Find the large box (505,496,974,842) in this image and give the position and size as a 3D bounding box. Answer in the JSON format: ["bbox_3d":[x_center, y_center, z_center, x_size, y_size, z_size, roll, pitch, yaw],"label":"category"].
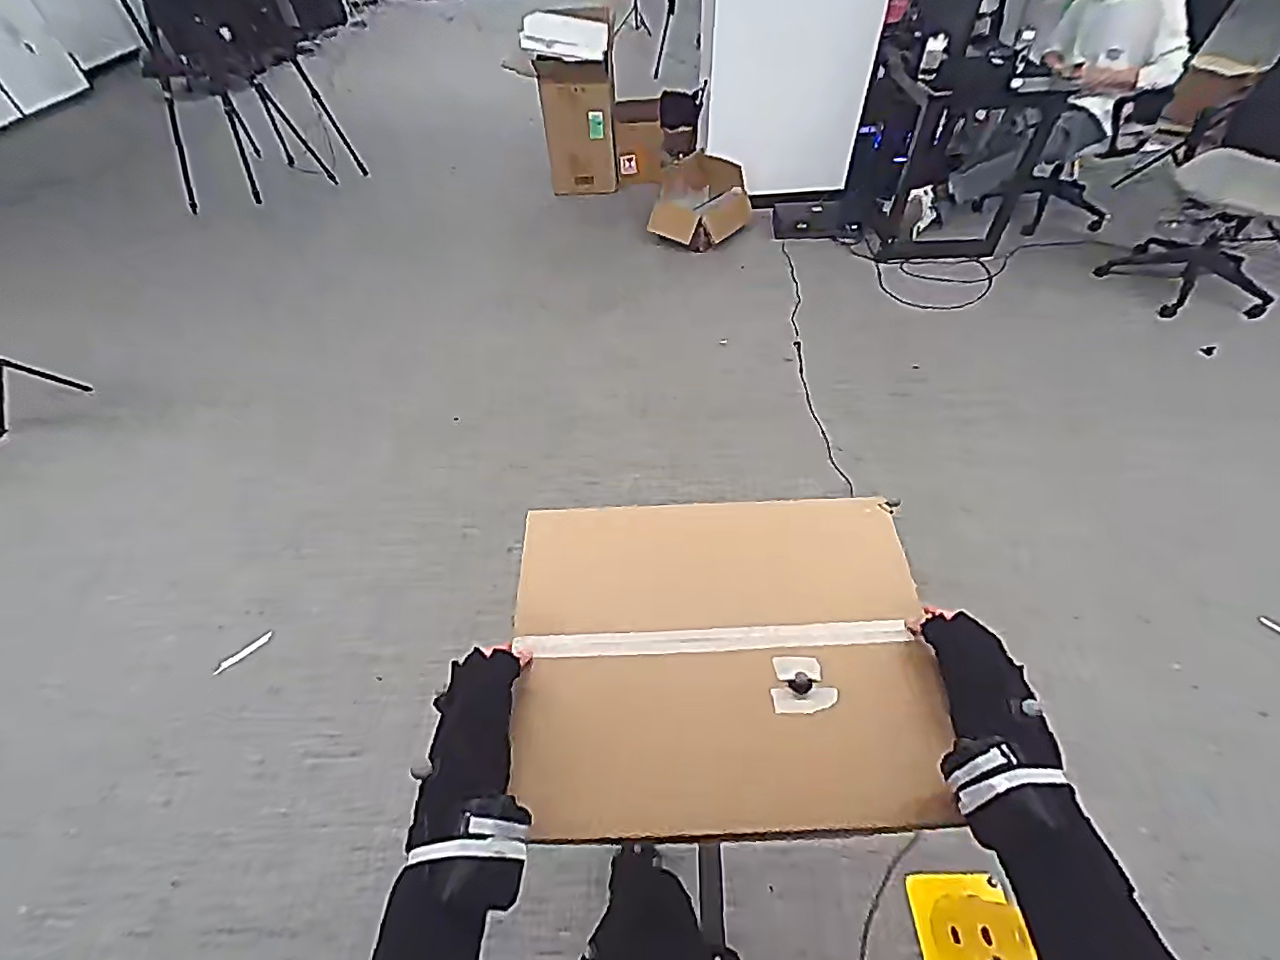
[{"bbox_3d":[0.080,0.239,0.655,0.408,0.320,0.320,-2,55,0],"label":"large box"}]
